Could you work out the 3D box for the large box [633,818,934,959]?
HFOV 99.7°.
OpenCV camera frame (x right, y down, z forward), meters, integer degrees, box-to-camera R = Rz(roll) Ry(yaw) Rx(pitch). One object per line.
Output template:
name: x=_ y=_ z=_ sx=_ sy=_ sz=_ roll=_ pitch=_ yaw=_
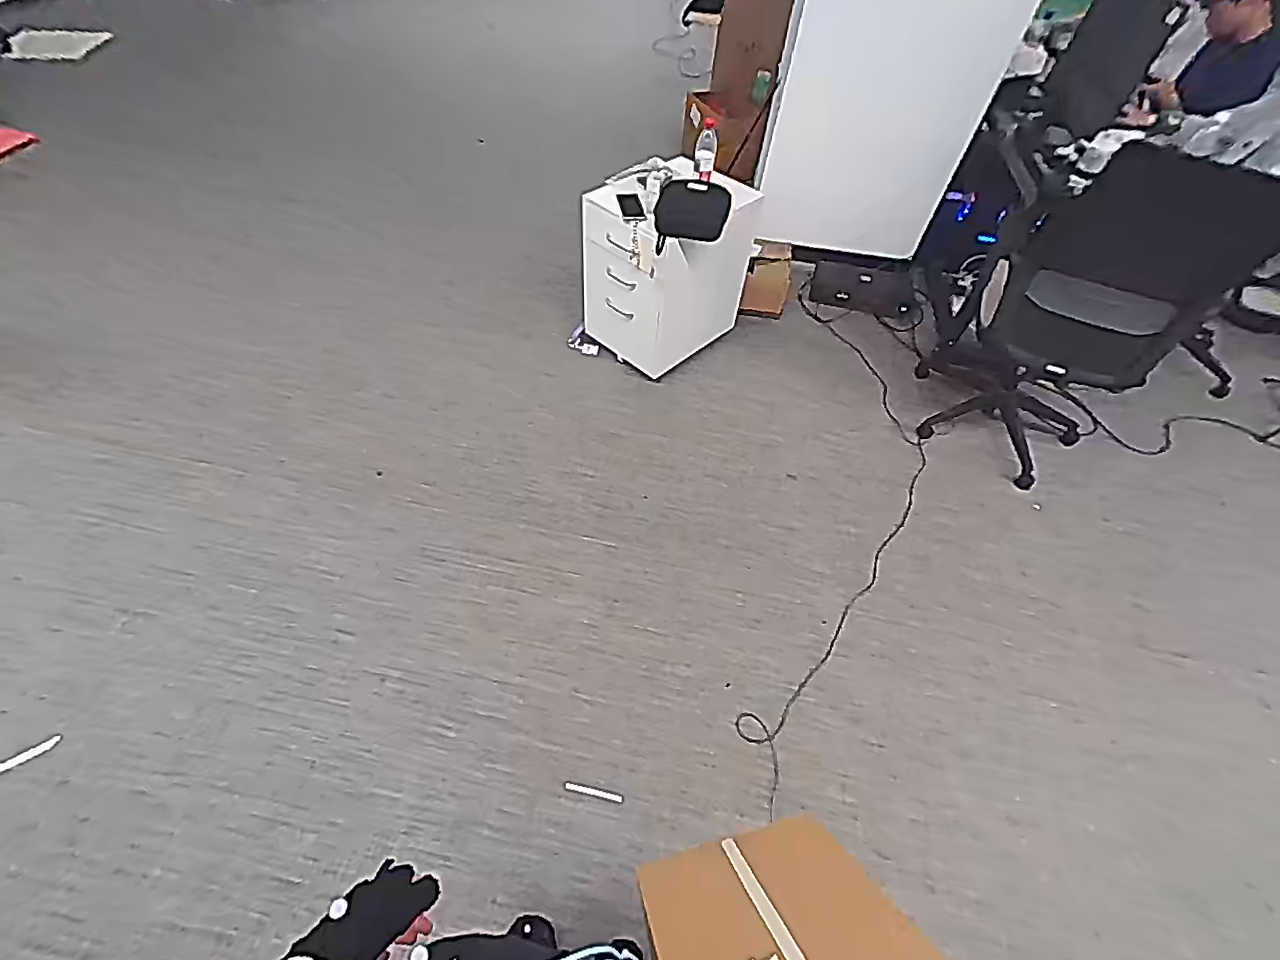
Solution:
large box: x=0.198 y=0.736 z=0.699 sx=0.320 sy=0.408 sz=0.320 roll=-11 pitch=88 yaw=-11
